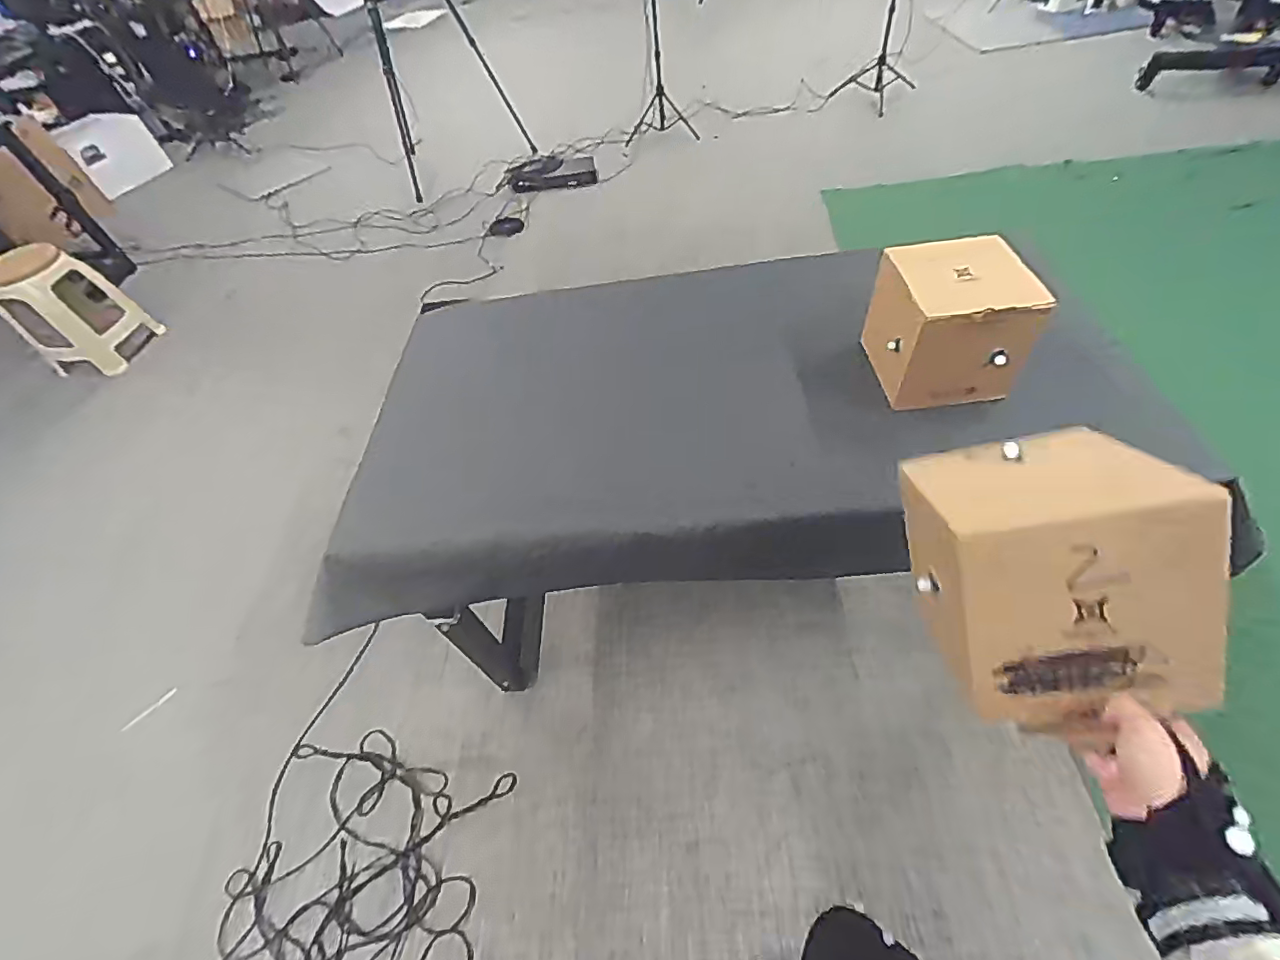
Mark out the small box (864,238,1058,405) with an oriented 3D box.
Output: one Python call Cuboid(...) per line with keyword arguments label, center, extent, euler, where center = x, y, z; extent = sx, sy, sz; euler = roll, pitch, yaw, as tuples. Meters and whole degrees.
Cuboid(label="small box", center=(0.449, -0.224, 0.792), extent=(0.168, 0.176, 0.179), euler=(-5, 50, 3))
